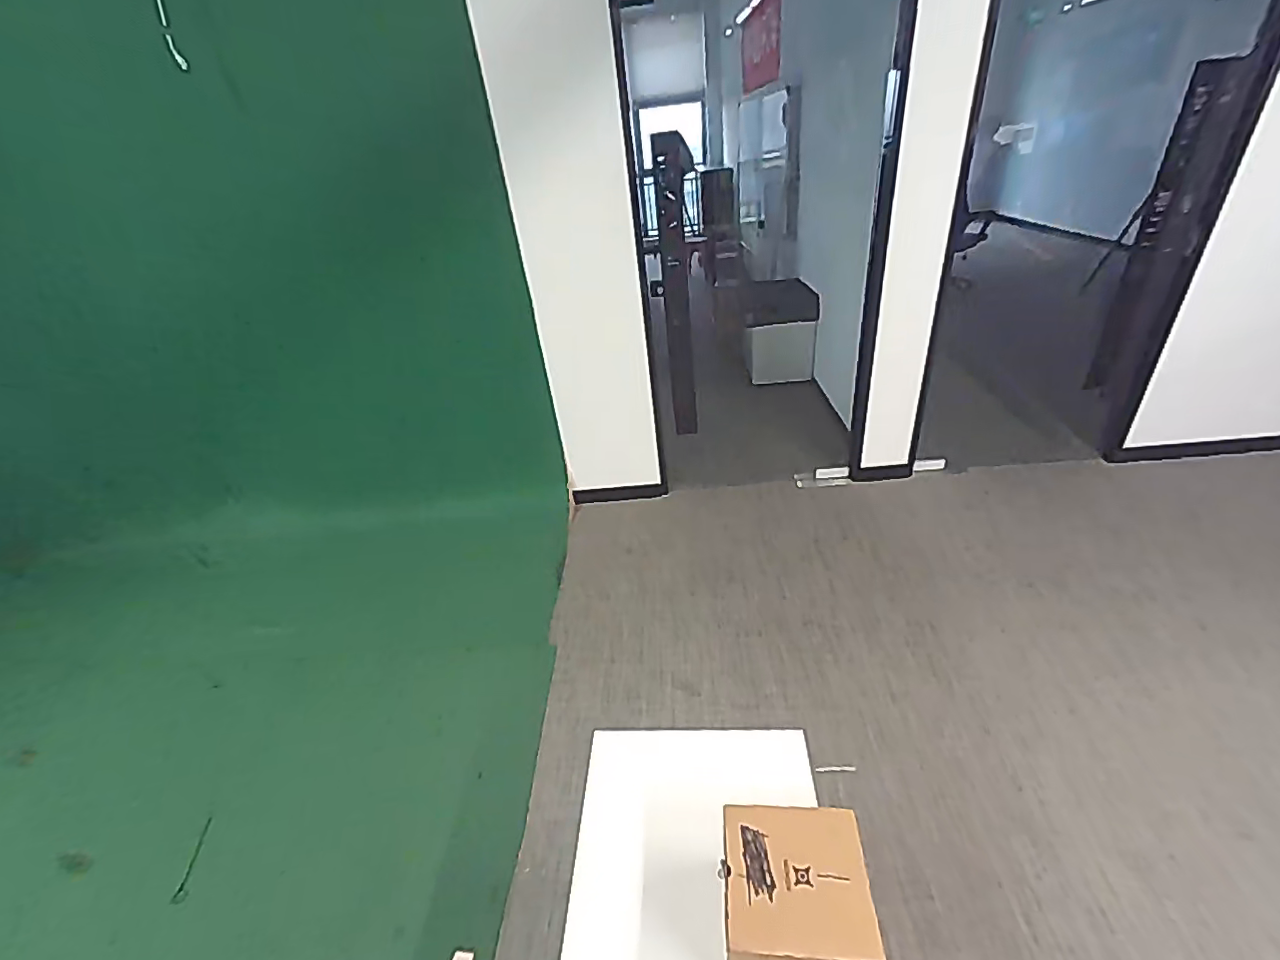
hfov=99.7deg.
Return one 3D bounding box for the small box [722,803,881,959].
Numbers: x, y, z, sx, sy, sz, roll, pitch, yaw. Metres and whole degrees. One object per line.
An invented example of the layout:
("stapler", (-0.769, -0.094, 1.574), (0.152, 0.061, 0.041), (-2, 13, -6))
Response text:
("small box", (0.203, 0.563, 0.720), (0.179, 0.176, 0.168), (-2, 32, 8))
